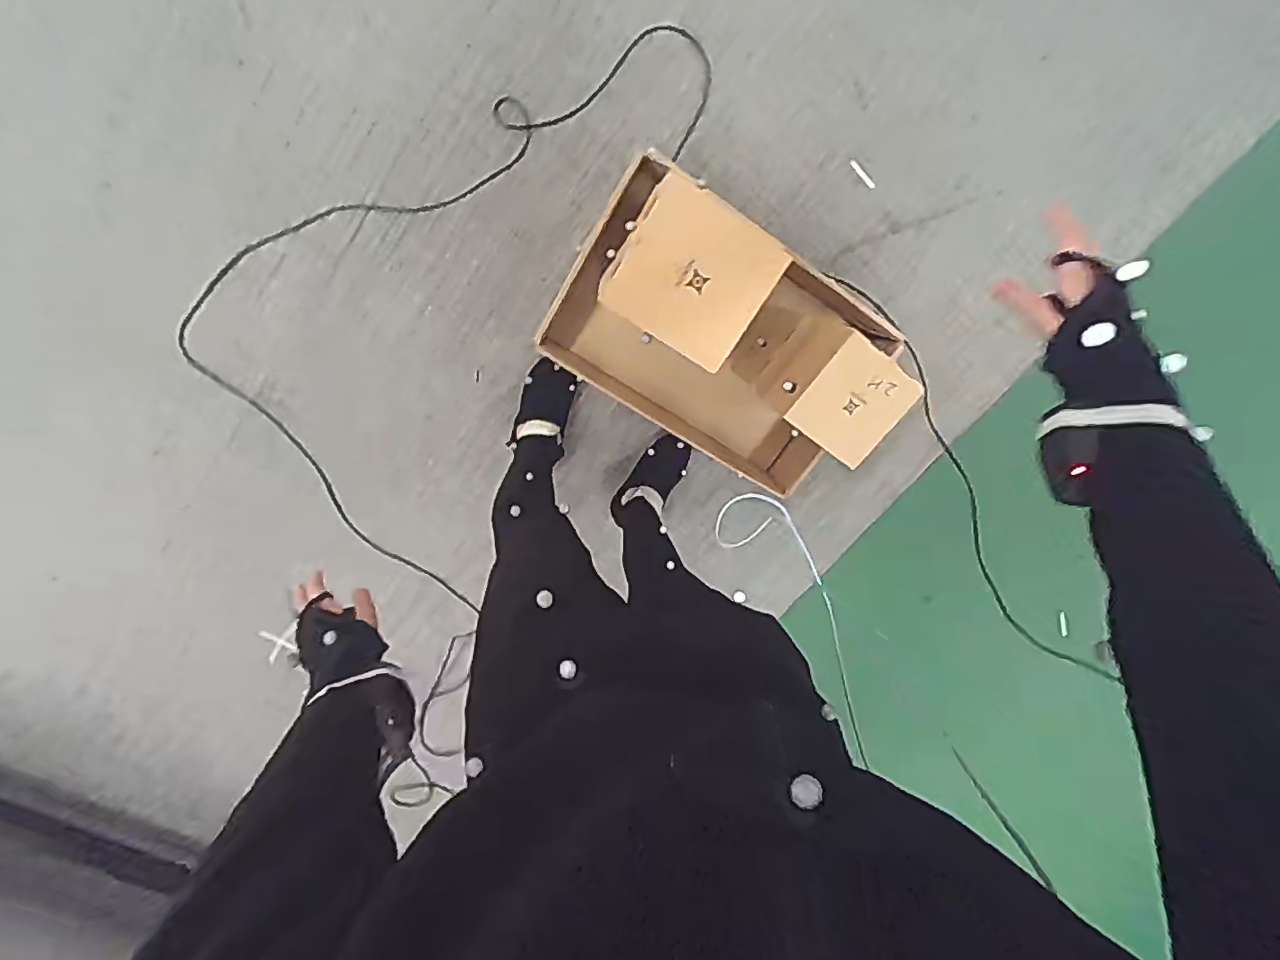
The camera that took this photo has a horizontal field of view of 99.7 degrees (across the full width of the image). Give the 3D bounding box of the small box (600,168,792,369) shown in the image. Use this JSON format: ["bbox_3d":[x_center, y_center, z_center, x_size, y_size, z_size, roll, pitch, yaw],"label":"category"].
[{"bbox_3d":[0.064,-0.276,0.716,0.179,0.176,0.168,30,108,-14],"label":"small box"}]

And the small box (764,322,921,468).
[{"bbox_3d":[0.340,-0.156,0.954,0.168,0.176,0.179,34,105,-16],"label":"small box"}]

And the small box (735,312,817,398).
[{"bbox_3d":[0.319,-0.225,1.103,0.179,0.176,0.168,35,106,-15],"label":"small box"}]
